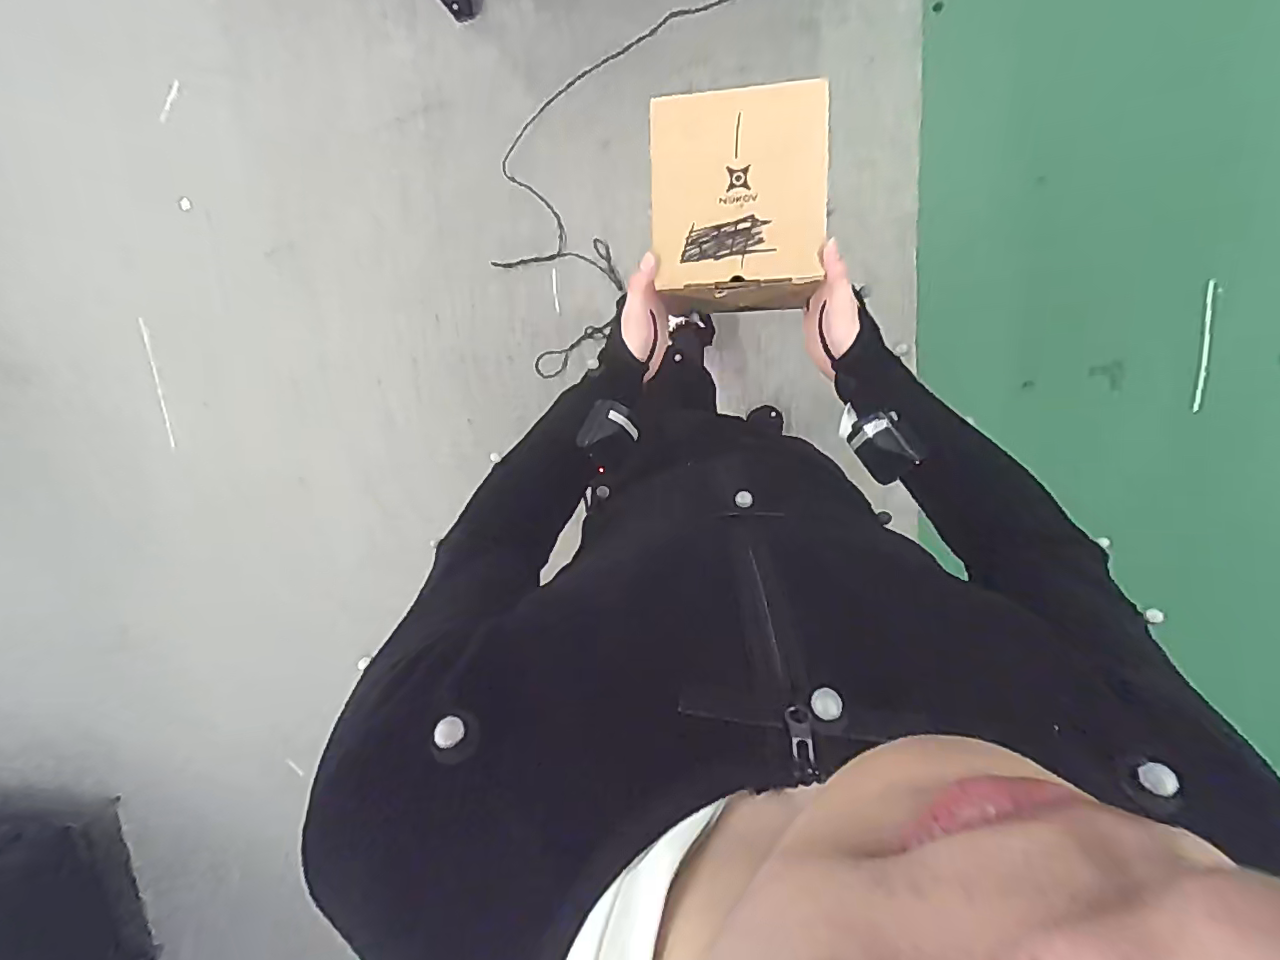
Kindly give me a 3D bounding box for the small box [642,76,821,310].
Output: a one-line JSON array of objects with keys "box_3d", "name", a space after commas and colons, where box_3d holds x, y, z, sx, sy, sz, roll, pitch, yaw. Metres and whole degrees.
[{"box_3d": [0.099, -0.286, 0.586, 0.168, 0.176, 0.179, -1, 97, 10], "name": "small box"}]
